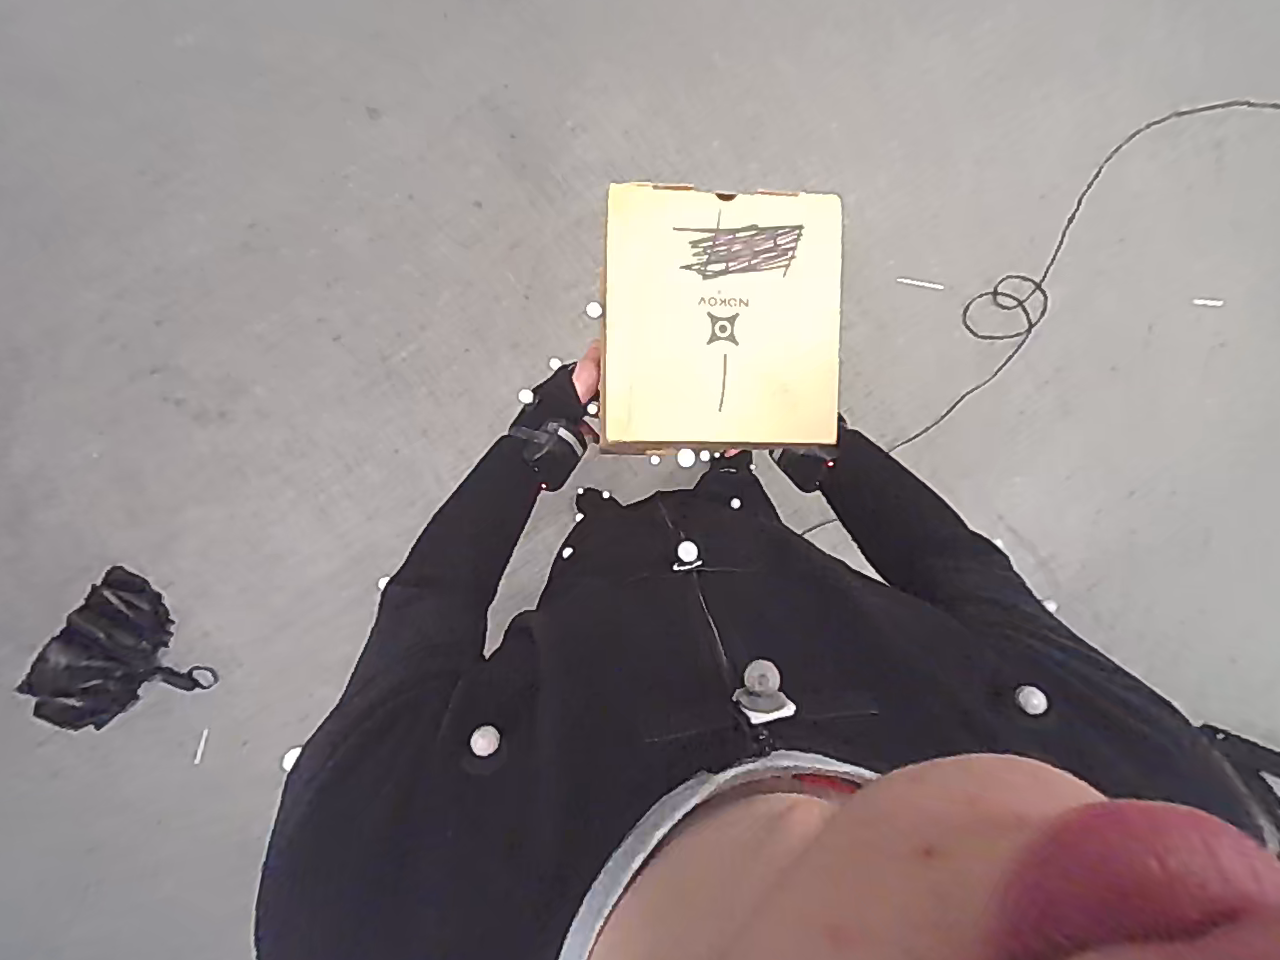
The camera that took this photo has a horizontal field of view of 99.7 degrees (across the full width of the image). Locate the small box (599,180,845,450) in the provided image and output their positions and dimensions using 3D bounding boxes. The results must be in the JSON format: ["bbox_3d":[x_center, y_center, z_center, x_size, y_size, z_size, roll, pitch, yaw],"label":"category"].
[{"bbox_3d":[0.051,-0.116,0.451,0.168,0.176,0.179,1,93,-5],"label":"small box"}]
